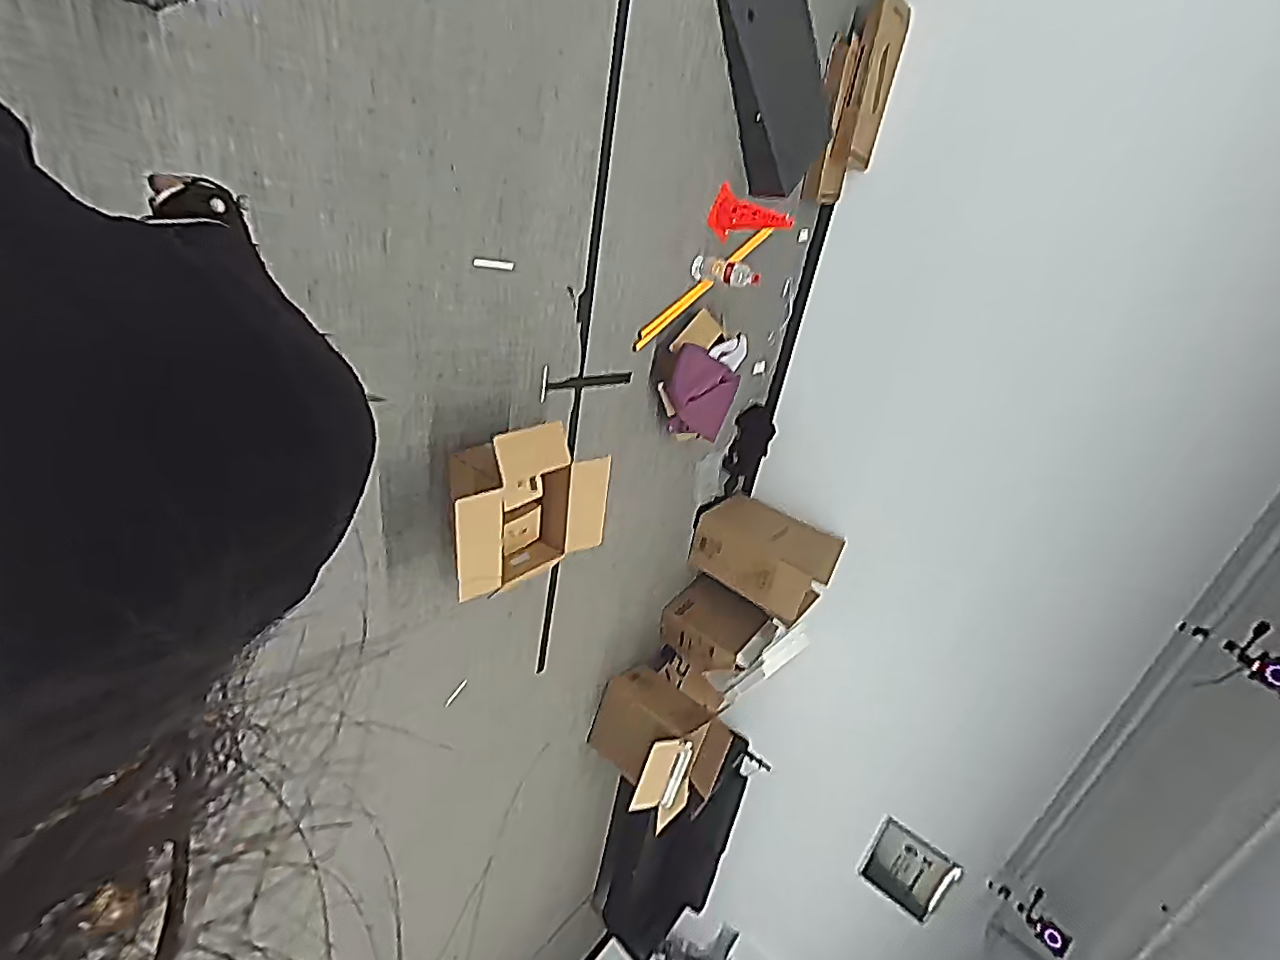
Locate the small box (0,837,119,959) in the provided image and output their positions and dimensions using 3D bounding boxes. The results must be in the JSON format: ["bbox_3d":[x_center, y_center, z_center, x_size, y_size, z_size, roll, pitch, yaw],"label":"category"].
[{"bbox_3d":[-1.419,1.028,1.315,0.179,0.176,0.168,-16,123,-48],"label":"small box"}]
